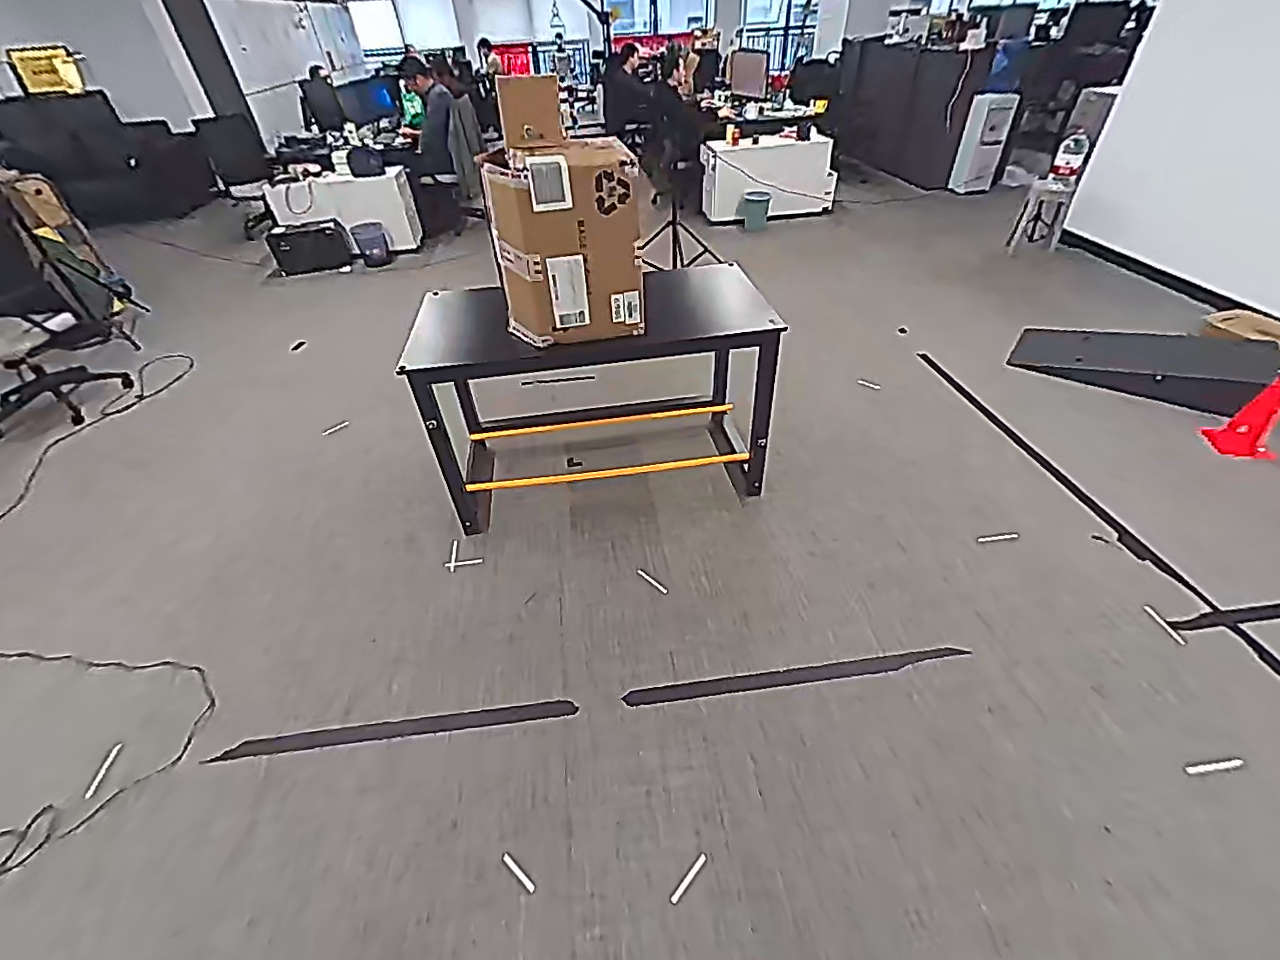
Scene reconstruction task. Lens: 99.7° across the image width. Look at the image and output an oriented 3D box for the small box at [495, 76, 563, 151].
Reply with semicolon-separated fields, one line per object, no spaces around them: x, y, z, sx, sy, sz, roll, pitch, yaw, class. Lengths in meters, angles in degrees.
-0.319;-1.056;1.557;0.168;0.176;0.179;-10;39;-9;small box
